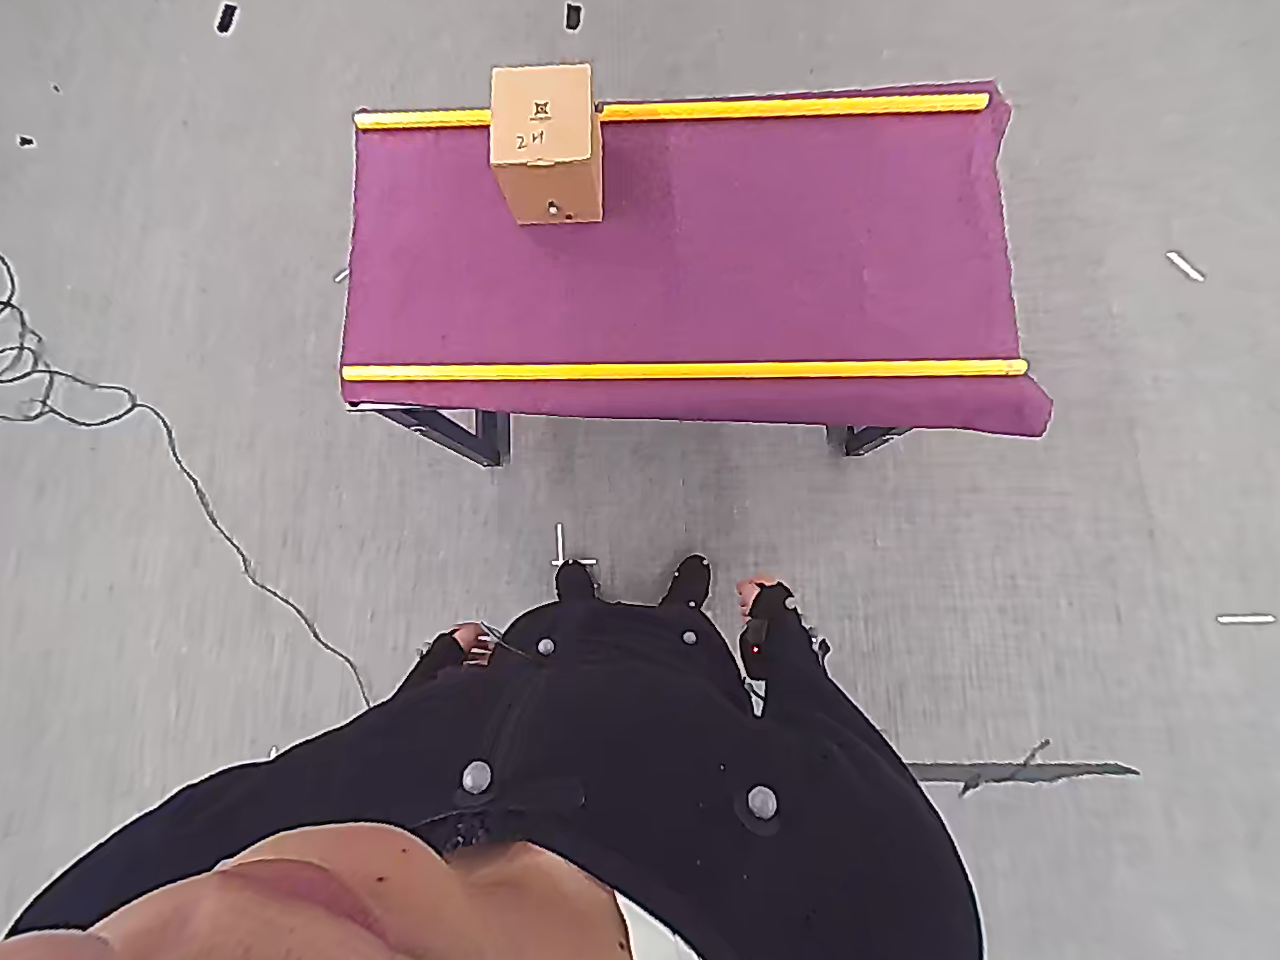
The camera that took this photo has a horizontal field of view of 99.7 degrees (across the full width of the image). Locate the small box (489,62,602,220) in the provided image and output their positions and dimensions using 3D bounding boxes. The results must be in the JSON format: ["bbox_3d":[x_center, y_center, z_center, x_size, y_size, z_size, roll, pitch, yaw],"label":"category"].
[{"bbox_3d":[-0.159,-0.589,0.956,0.168,0.176,0.179,-1,84,3],"label":"small box"}]
